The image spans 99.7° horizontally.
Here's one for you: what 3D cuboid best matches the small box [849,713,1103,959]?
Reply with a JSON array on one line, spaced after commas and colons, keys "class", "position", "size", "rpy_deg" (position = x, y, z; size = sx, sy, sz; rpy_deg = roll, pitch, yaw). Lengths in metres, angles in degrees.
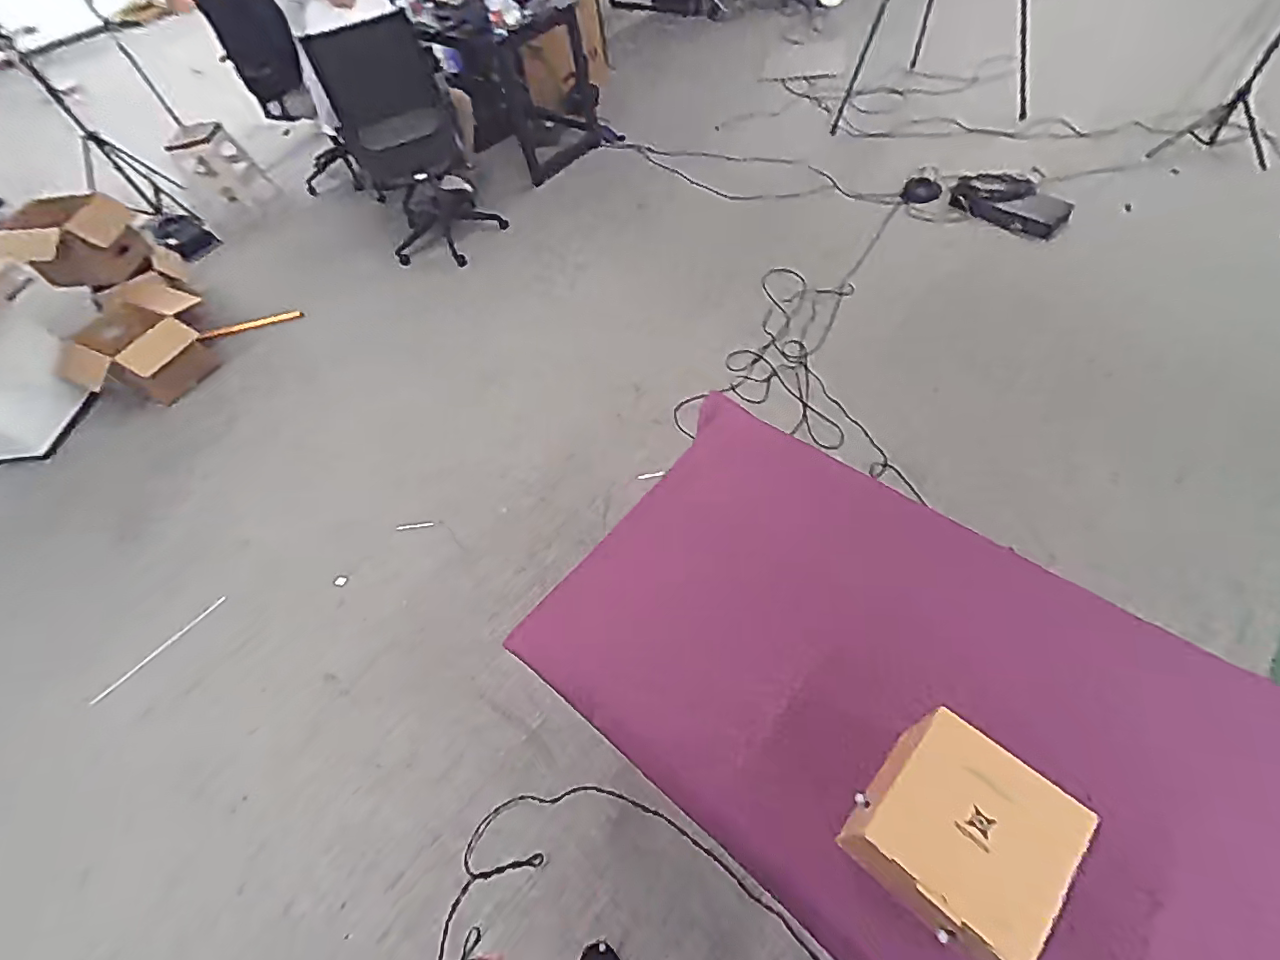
[{"class": "small box", "position": [0.358, 0.407, 0.612], "size": [0.168, 0.176, 0.179], "rpy_deg": [36, 66, 29]}]
